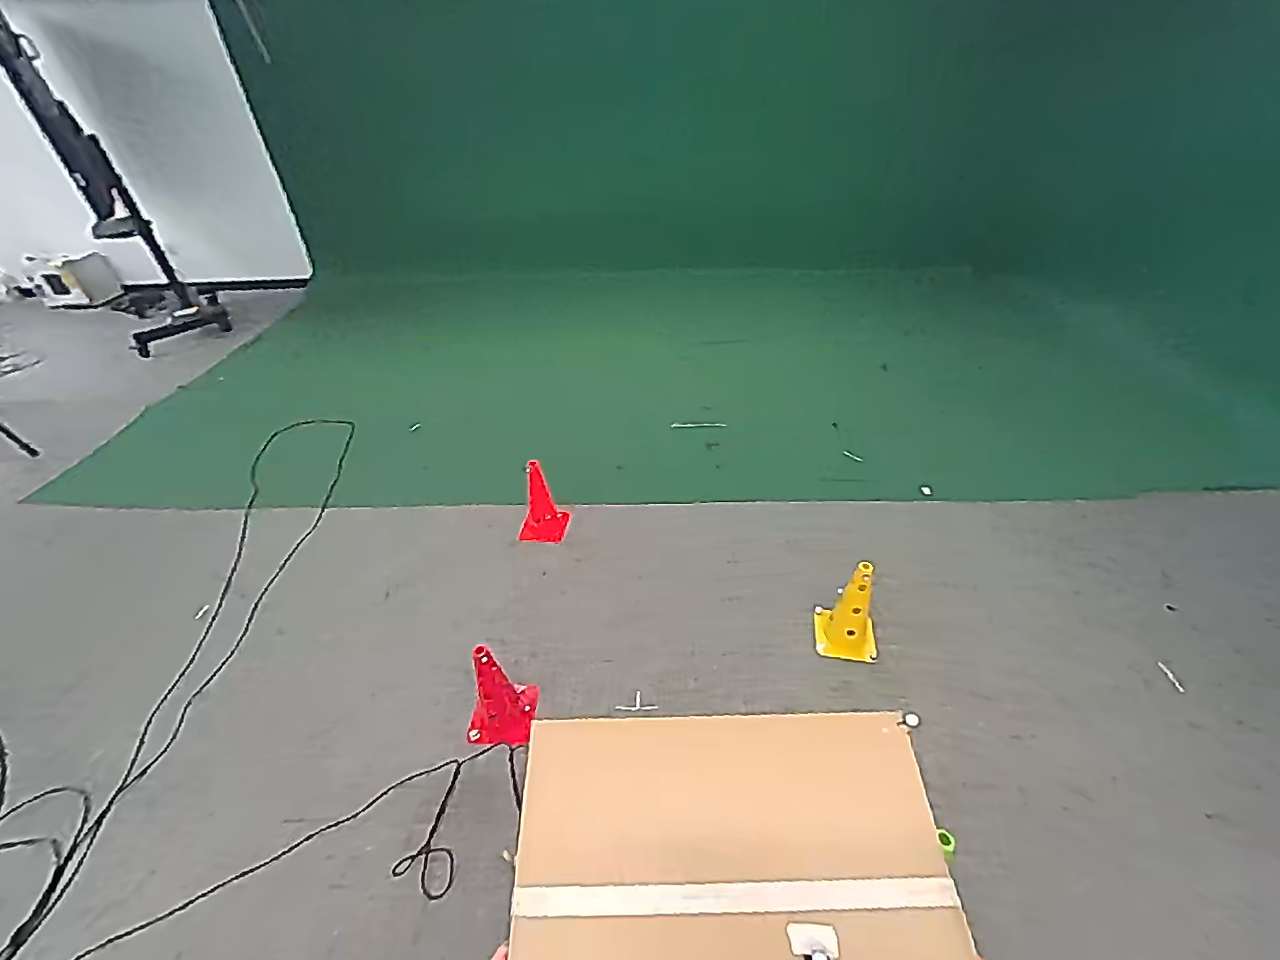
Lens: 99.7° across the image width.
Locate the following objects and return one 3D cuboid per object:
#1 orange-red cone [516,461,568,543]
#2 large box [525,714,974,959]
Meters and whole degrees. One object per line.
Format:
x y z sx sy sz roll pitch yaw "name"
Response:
-0.444 0.074 2.304 0.199 0.360 0.198 2 38 9 "orange-red cone"
0.096 0.480 0.619 0.408 0.320 0.320 -2 53 0 "large box"
